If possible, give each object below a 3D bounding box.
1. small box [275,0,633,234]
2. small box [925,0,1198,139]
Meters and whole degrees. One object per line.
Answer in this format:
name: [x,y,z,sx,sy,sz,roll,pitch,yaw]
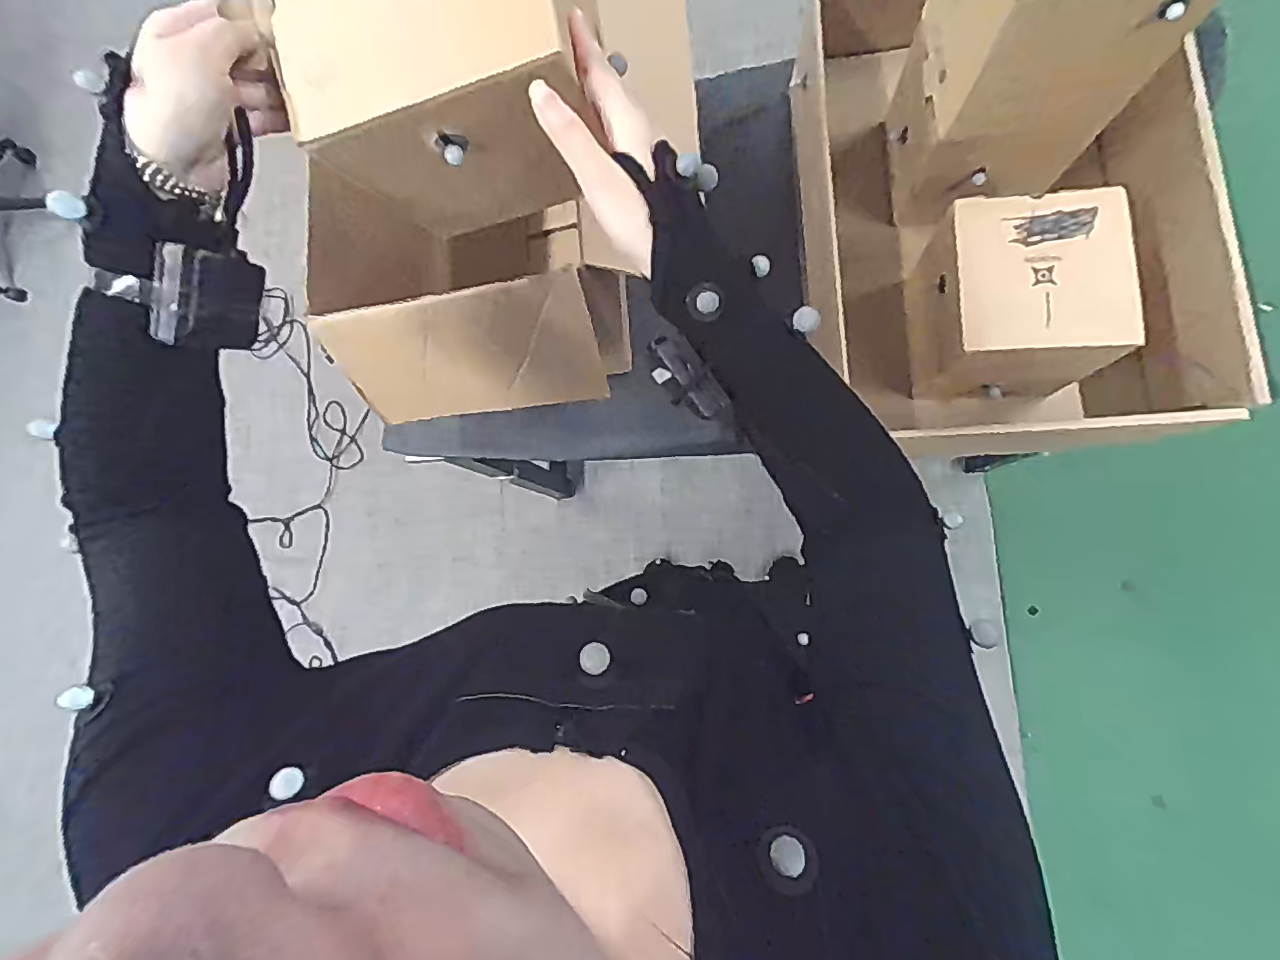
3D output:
small box: [-0.116,-0.297,0.380,0.179,0.176,0.168,-10,94,12]
small box: [0.393,-0.463,0.517,0.179,0.176,0.168,-4,83,8]
